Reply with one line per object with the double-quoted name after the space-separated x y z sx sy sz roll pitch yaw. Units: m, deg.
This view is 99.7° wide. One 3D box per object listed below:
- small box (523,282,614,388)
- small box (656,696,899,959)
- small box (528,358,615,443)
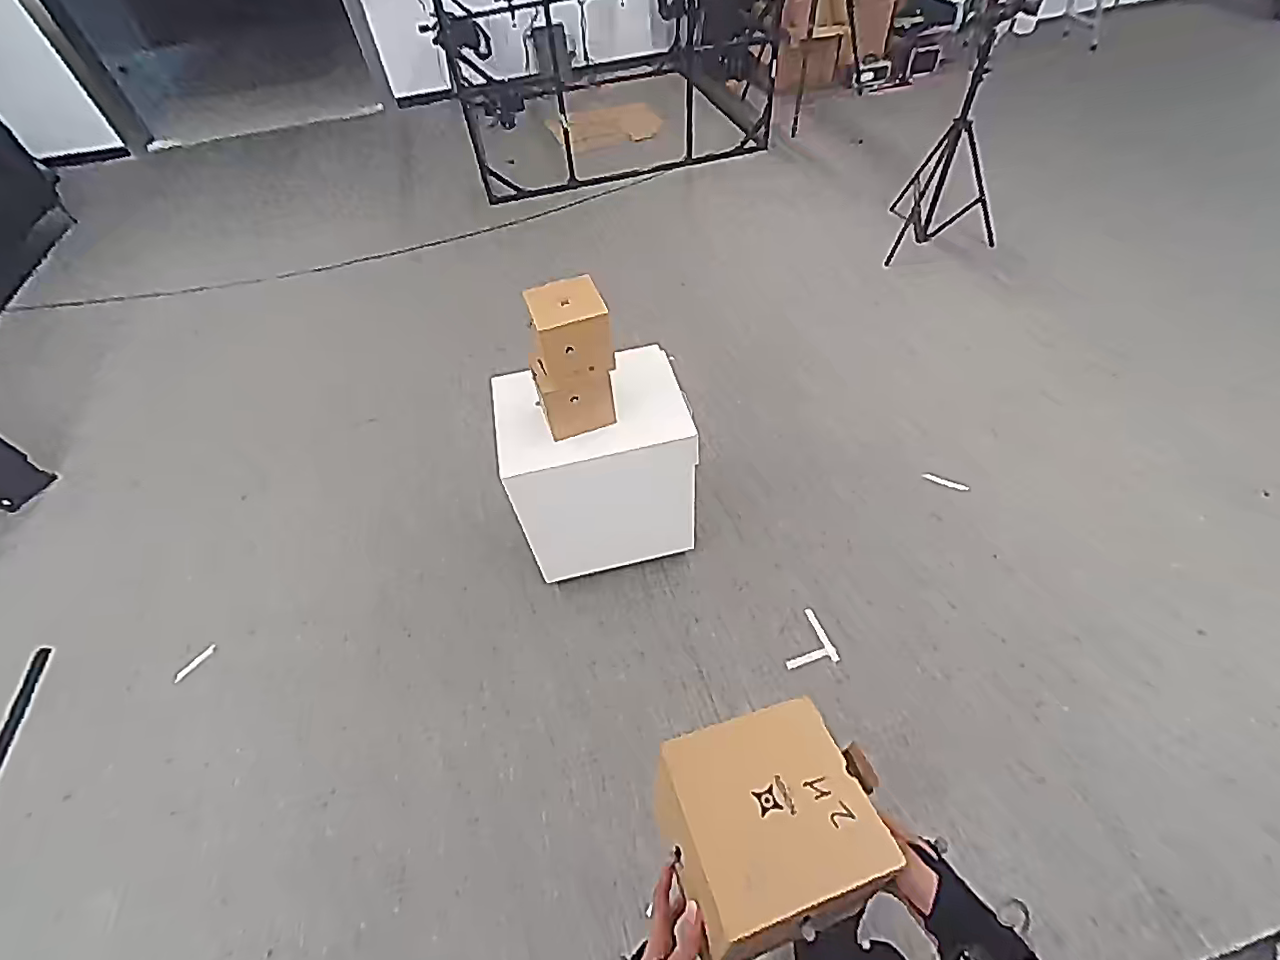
-0.167 -0.342 1.300 0.168 0.176 0.179 -18 51 -9 "small box"
0.122 0.362 0.561 0.179 0.176 0.168 -11 42 -15 "small box"
-0.175 -0.221 1.412 0.179 0.176 0.168 -18 52 -10 "small box"
